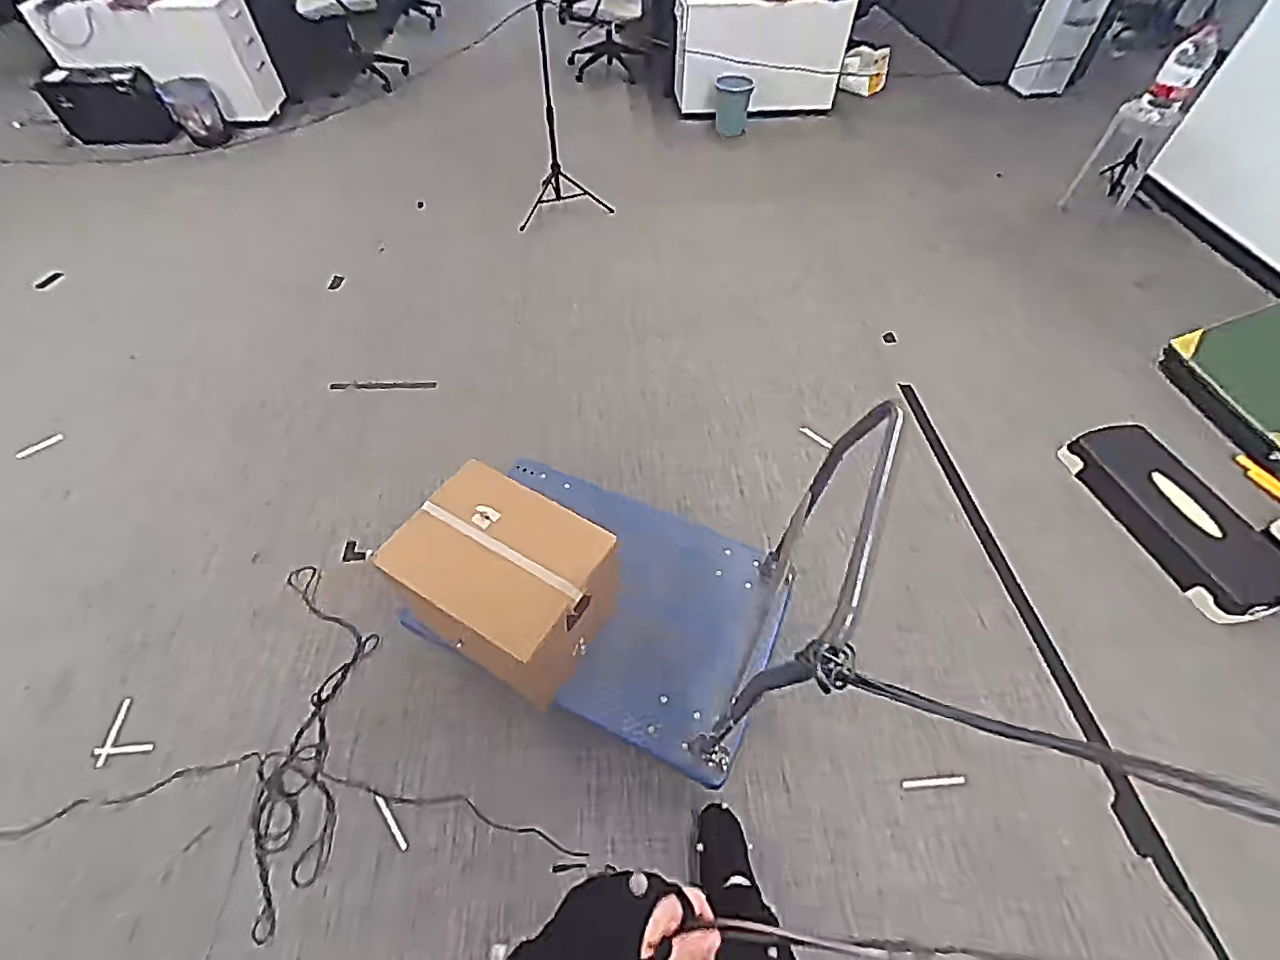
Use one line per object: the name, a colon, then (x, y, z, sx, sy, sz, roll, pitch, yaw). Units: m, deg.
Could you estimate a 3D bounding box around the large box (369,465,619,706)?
large box: (-0.295, 0.237, 1.216, 0.408, 0.320, 0.320, 26, 56, 18)
